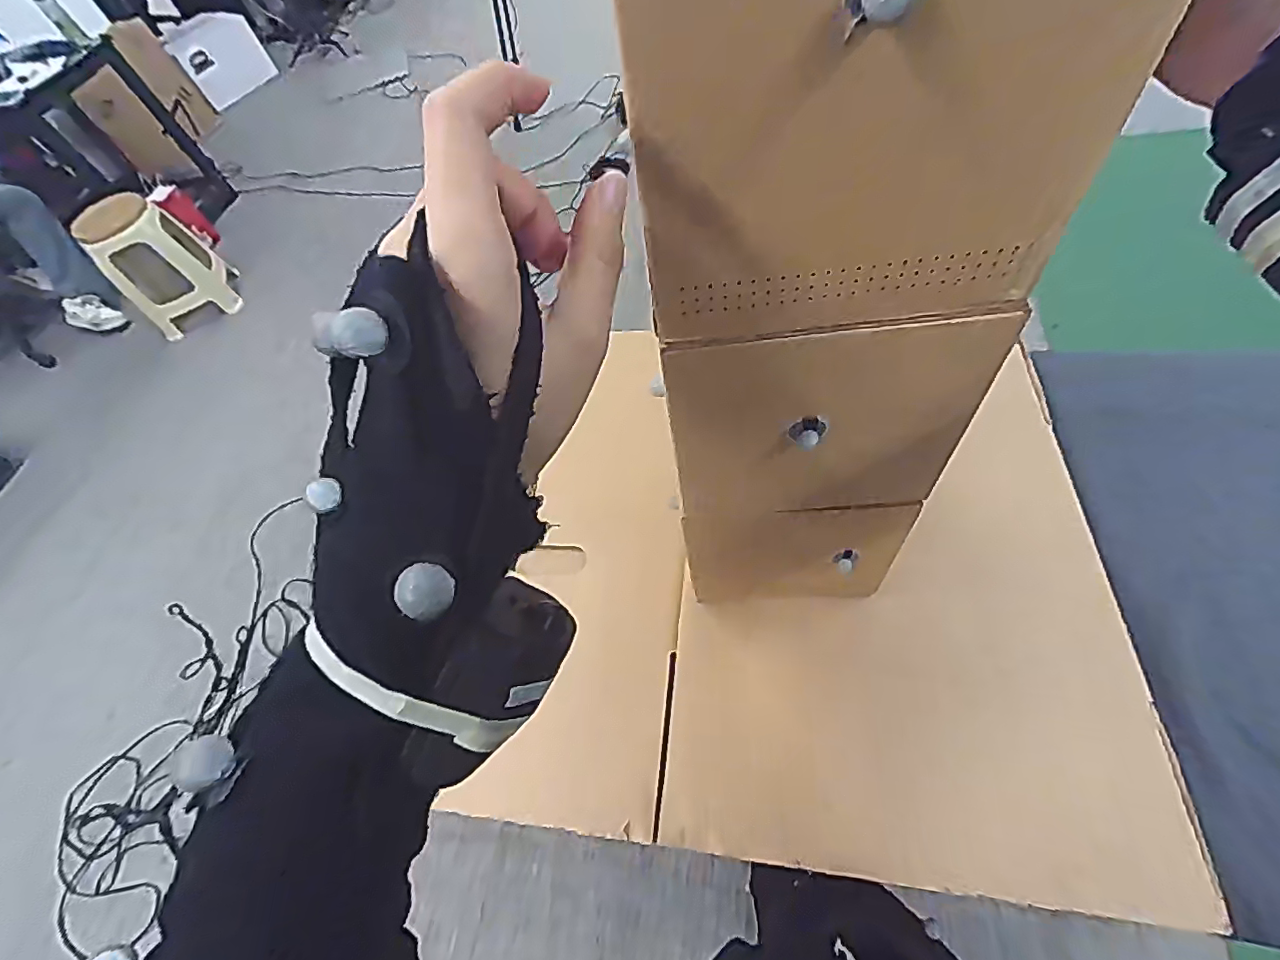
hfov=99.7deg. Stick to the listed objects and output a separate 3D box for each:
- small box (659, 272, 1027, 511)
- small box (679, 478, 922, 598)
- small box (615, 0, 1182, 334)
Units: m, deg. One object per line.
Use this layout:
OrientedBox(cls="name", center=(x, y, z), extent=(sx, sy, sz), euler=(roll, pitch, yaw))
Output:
OrientedBox(cls="small box", center=(0.106, -0.093, 0.369), extent=(0.179, 0.176, 0.168), euler=(-5, 55, 7))
OrientedBox(cls="small box", center=(0.128, 0.001, 0.502), extent=(0.179, 0.176, 0.168), euler=(-5, 55, 8))
OrientedBox(cls="small box", center=(0.085, -0.188, 0.238), extent=(0.179, 0.176, 0.168), euler=(-6, 55, 7))
